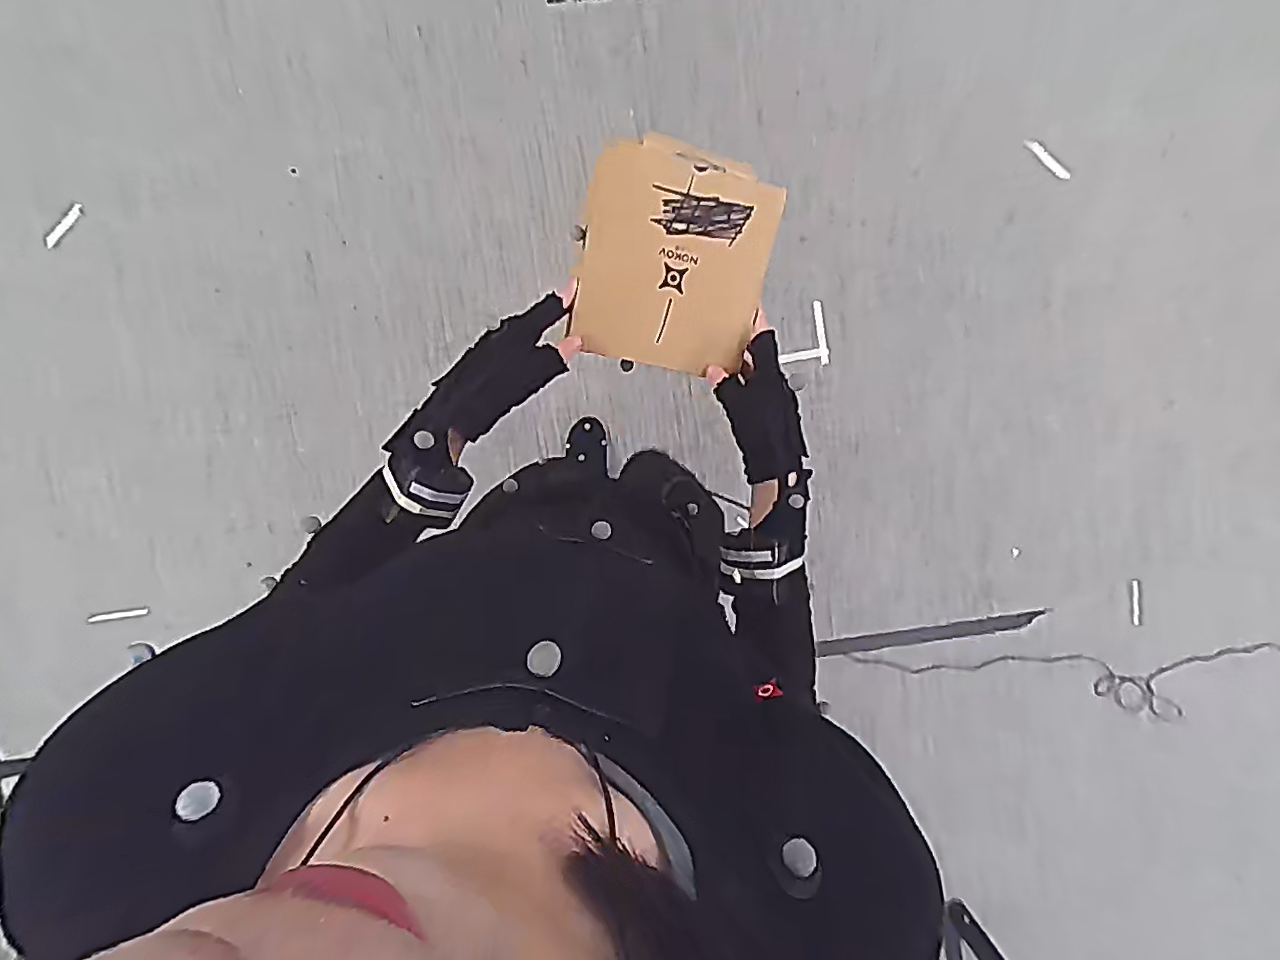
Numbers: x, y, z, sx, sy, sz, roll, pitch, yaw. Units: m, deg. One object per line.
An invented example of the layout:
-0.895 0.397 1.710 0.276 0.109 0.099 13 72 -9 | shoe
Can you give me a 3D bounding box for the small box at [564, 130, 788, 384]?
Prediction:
0.019 -0.209 0.547 0.168 0.176 0.179 10 105 -13 | small box
